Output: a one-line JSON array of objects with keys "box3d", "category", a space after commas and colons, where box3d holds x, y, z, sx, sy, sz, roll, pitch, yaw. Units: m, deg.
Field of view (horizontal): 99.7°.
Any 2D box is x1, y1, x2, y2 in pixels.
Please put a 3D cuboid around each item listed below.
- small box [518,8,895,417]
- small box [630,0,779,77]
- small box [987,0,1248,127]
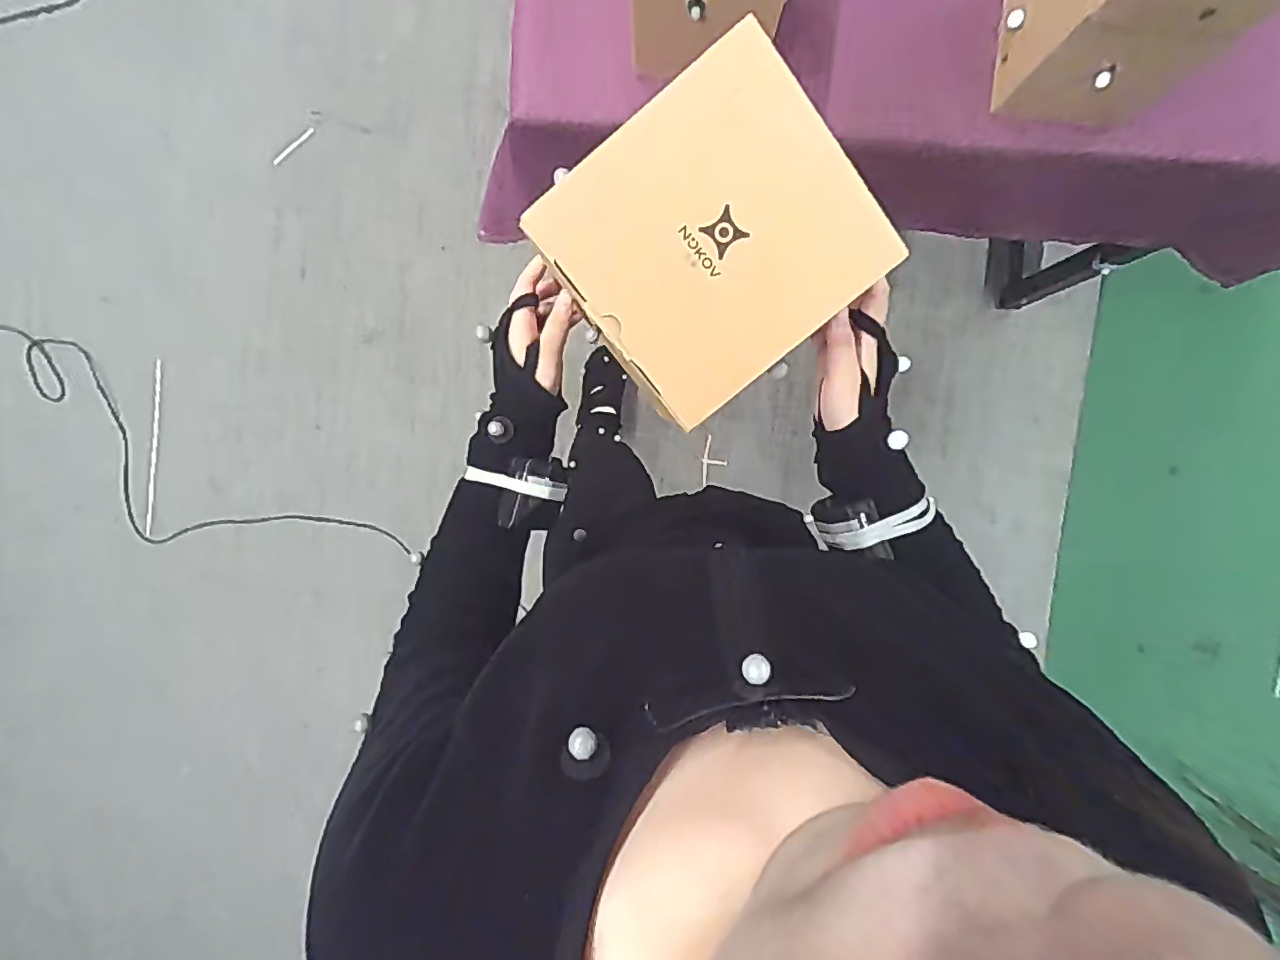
[{"box3d": [0.038, -0.168, 0.402, 0.179, 0.176, 0.168, -38, 99, 6], "category": "small box"}, {"box3d": [0.081, -0.618, 0.655, 0.179, 0.176, 0.168, 7, 92, 0], "category": "small box"}, {"box3d": [0.565, -0.561, 0.651, 0.179, 0.176, 0.168, 7, 91, 1], "category": "small box"}]
